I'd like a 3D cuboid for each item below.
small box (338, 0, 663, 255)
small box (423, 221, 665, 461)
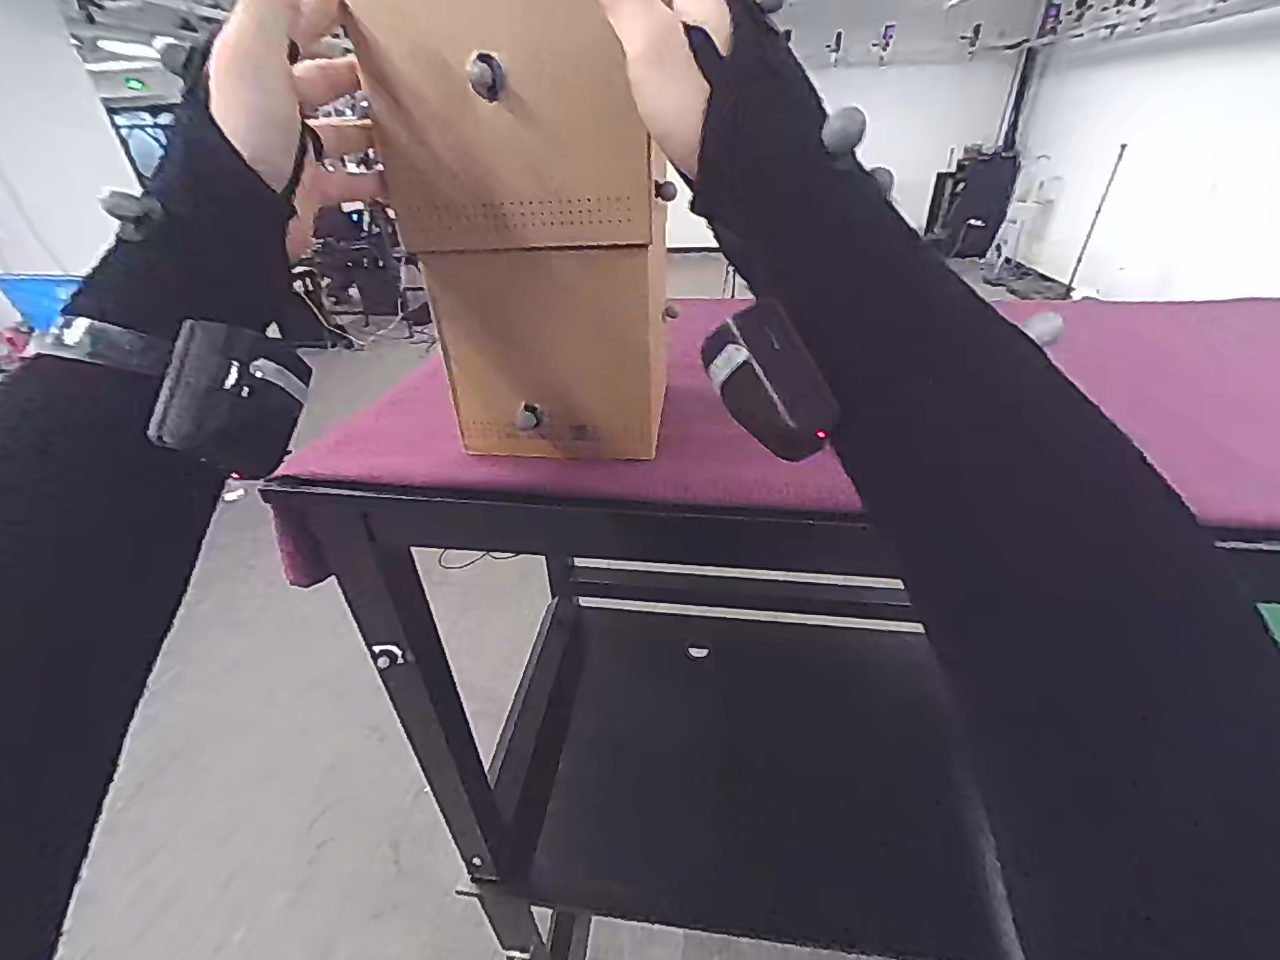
[{"bbox_3d":[-0.075,-0.266,0.393,0.179,0.176,0.168,0,30,7],"label":"small box"},{"bbox_3d":[-0.065,-0.132,0.487,0.168,0.176,0.179,1,32,7],"label":"small box"}]
